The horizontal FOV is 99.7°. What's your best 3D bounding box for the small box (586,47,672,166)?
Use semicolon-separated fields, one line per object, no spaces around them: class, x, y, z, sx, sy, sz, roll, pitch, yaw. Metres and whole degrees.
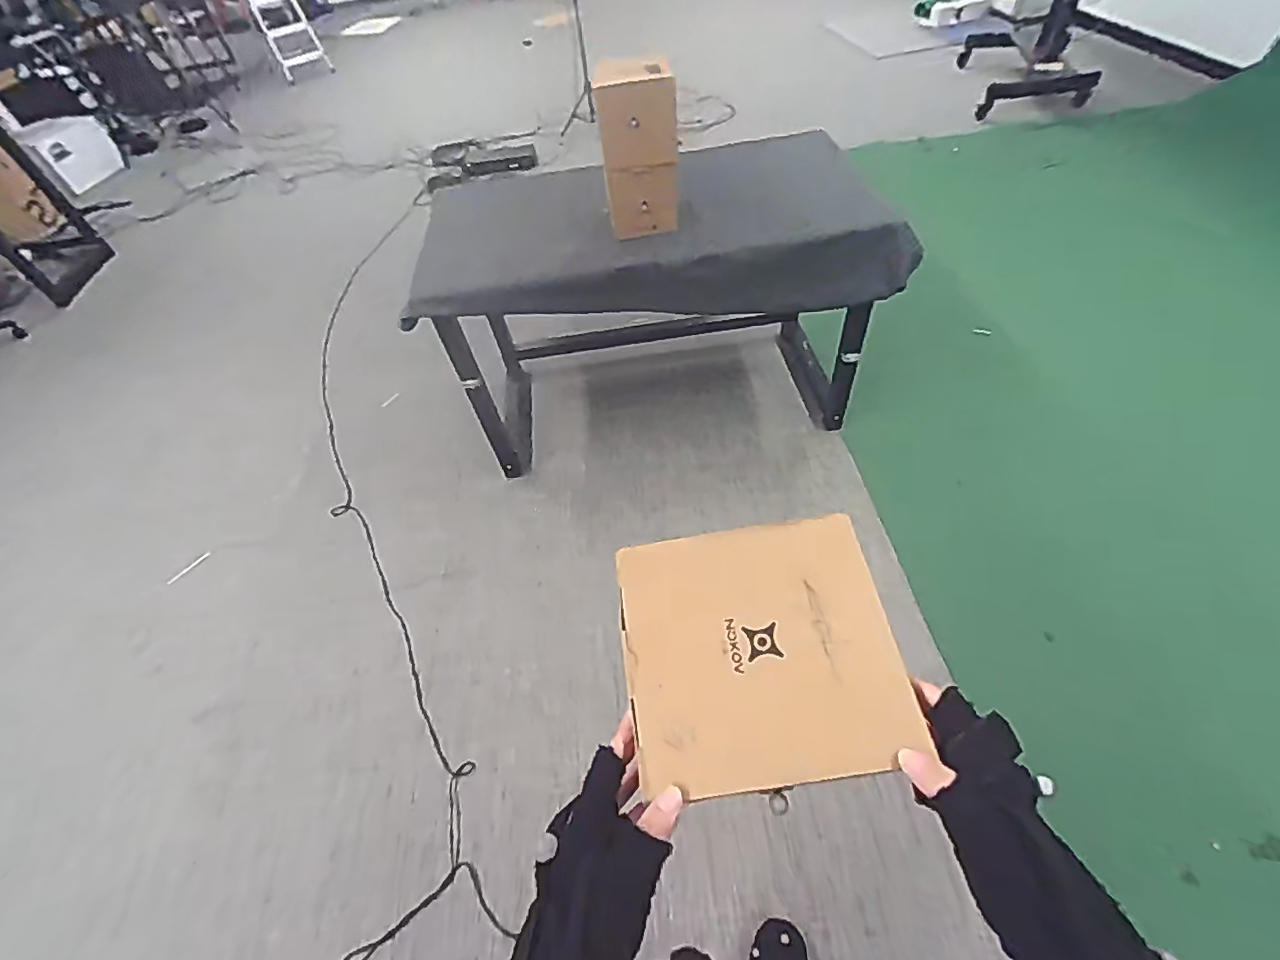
small box;-0.021;-0.843;1.226;0.179;0.176;0.168;-8;51;4

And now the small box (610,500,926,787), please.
small box;0.083;0.139;0.430;0.179;0.176;0.168;-11;61;0

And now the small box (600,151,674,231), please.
small box;-0.009;-0.748;1.361;0.168;0.176;0.179;-10;52;1
